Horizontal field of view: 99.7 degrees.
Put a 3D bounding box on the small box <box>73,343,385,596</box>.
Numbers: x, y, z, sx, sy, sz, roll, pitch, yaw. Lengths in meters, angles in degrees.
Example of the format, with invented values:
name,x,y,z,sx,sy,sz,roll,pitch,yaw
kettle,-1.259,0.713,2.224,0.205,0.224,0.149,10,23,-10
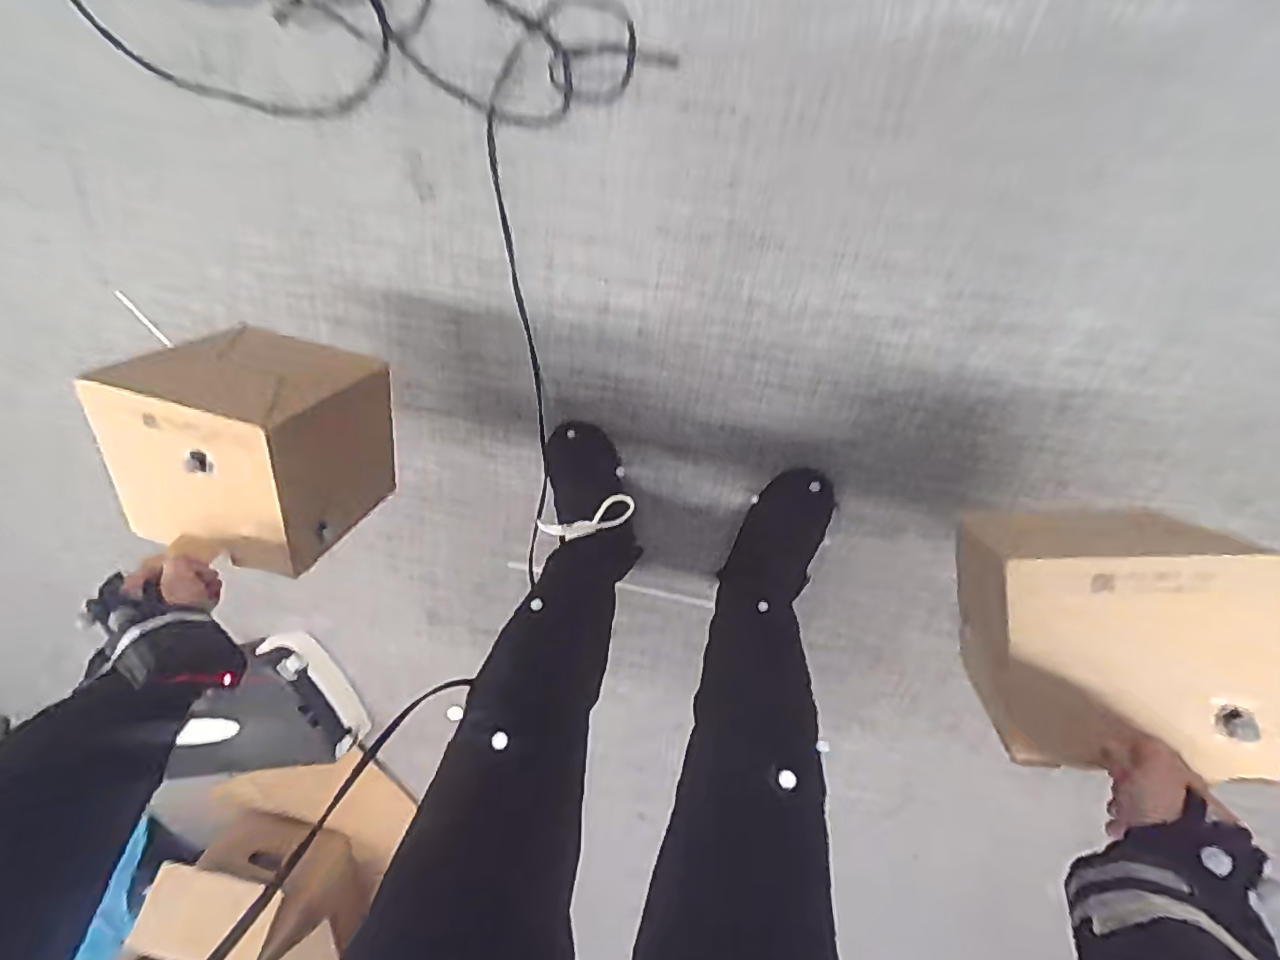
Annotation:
name,x,y,z,sx,sy,sz,roll,pitch,yaw
small box,-0.374,-0.023,0.530,0.168,0.179,0.176,15,120,2
